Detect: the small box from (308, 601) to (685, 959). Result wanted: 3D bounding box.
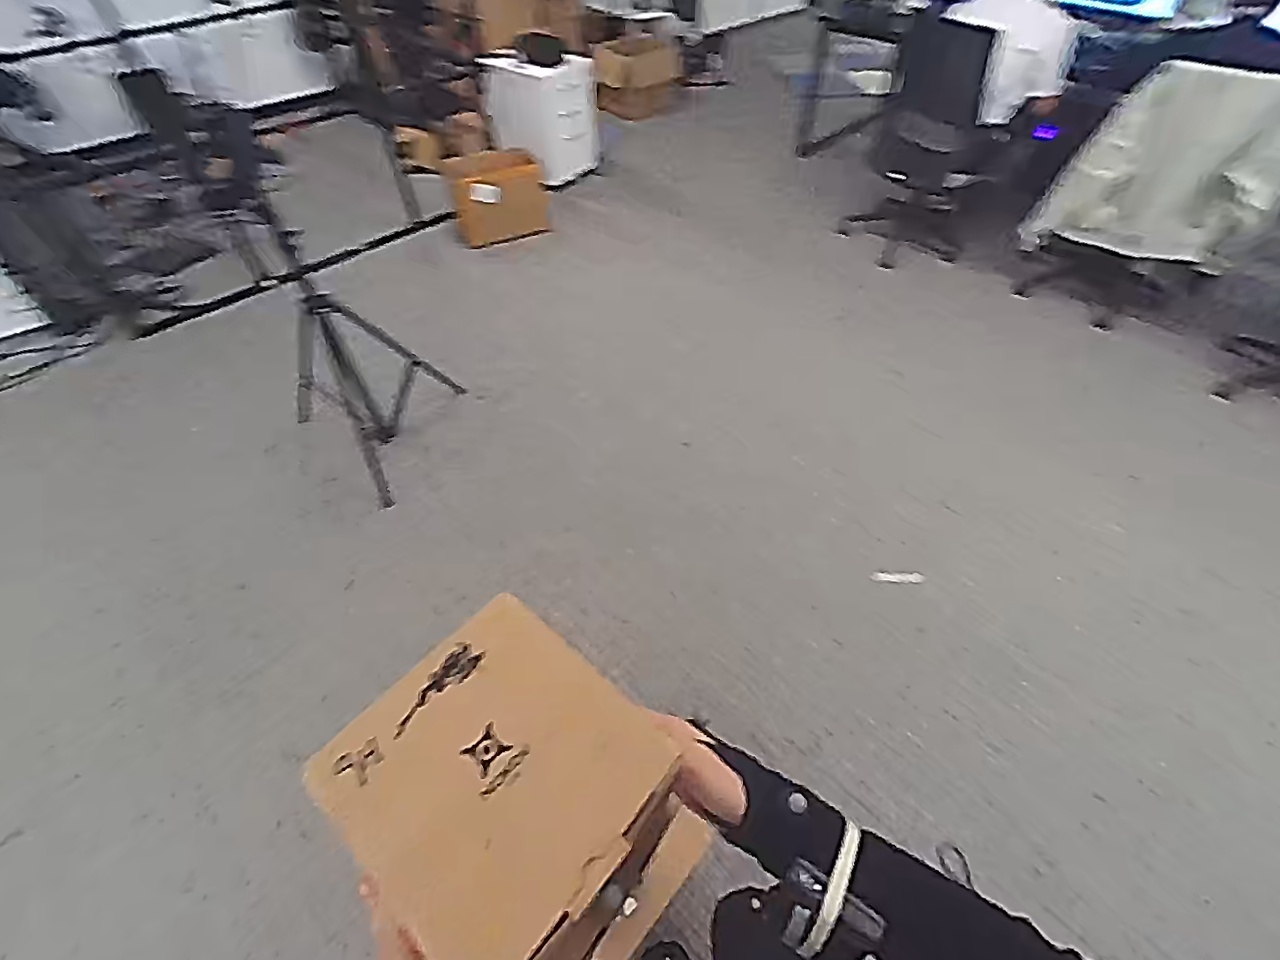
[{"bbox_3d":[-0.090,0.230,0.398,0.179,0.176,0.168,35,57,23],"label":"small box"}]

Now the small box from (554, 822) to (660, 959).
[{"bbox_3d":[-0.095,0.442,0.651,0.179,0.176,0.168,31,55,22],"label":"small box"}]
